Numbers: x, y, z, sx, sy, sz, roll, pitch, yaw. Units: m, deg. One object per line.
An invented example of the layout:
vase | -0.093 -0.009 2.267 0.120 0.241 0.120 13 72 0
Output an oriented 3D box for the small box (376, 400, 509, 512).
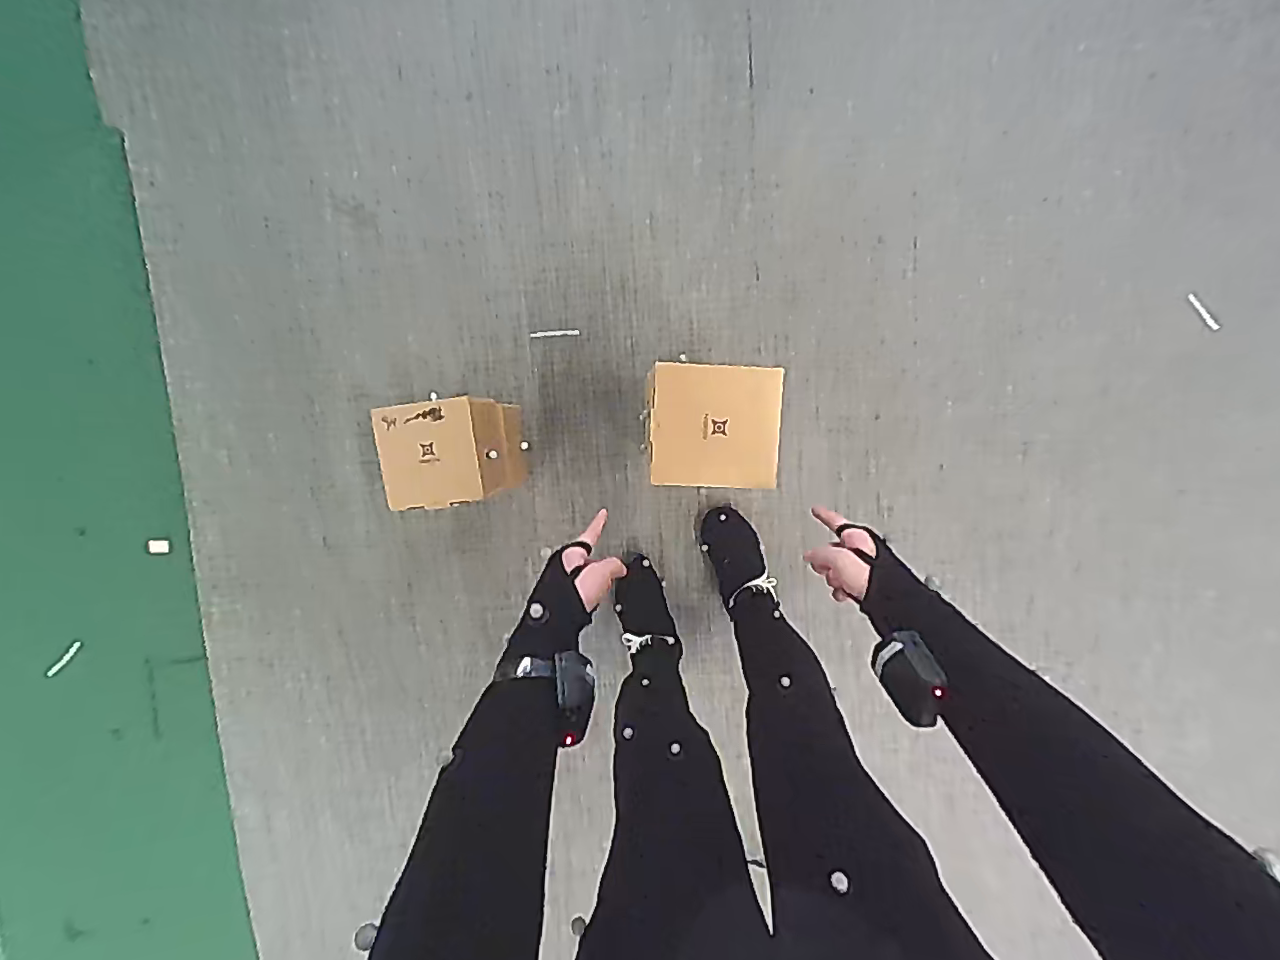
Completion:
small box | -0.345 -0.050 0.981 0.168 0.176 0.179 -7 97 1

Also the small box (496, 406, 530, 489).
small box | -0.341 -0.066 1.144 0.179 0.176 0.168 -4 96 0

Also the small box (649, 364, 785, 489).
small box | 0.105 -0.082 0.812 0.179 0.176 0.168 2 97 0
